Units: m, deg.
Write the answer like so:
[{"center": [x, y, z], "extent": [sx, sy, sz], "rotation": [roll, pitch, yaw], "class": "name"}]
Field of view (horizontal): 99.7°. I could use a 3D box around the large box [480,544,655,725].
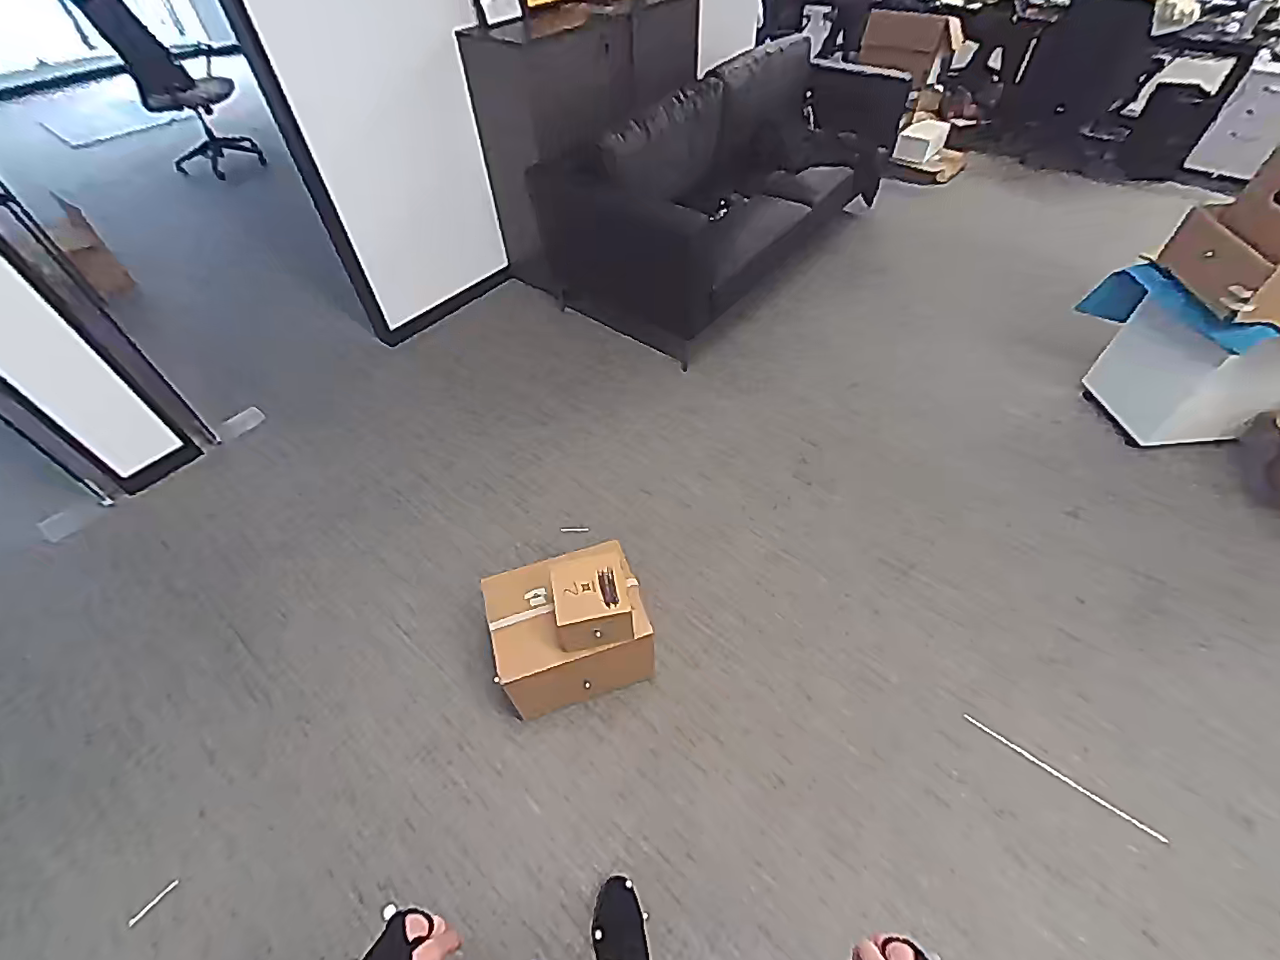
[{"center": [-0.197, 0.442, 1.546], "extent": [0.408, 0.320, 0.320], "rotation": [-16, 50, -11], "class": "large box"}]
